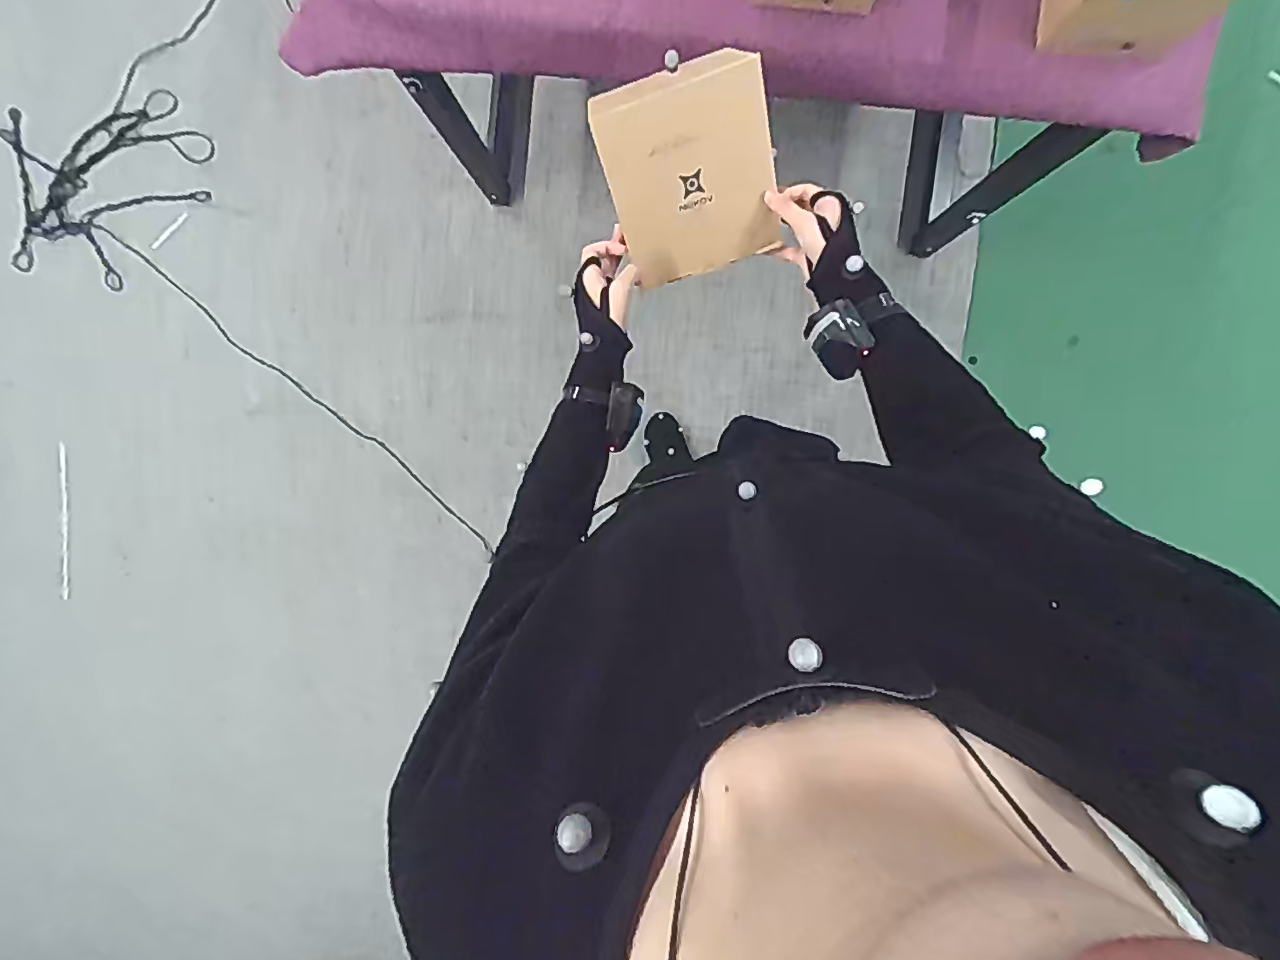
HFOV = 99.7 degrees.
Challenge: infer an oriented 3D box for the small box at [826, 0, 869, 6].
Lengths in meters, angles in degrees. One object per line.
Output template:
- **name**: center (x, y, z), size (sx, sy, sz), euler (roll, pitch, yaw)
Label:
- **small box**: center (0.230, -0.707, 0.627), size (0.168, 0.176, 0.179), euler (7, 94, 1)

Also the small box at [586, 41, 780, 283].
- **small box**: center (0.046, -0.352, 0.597), size (0.168, 0.176, 0.179), euler (-15, 130, 7)
